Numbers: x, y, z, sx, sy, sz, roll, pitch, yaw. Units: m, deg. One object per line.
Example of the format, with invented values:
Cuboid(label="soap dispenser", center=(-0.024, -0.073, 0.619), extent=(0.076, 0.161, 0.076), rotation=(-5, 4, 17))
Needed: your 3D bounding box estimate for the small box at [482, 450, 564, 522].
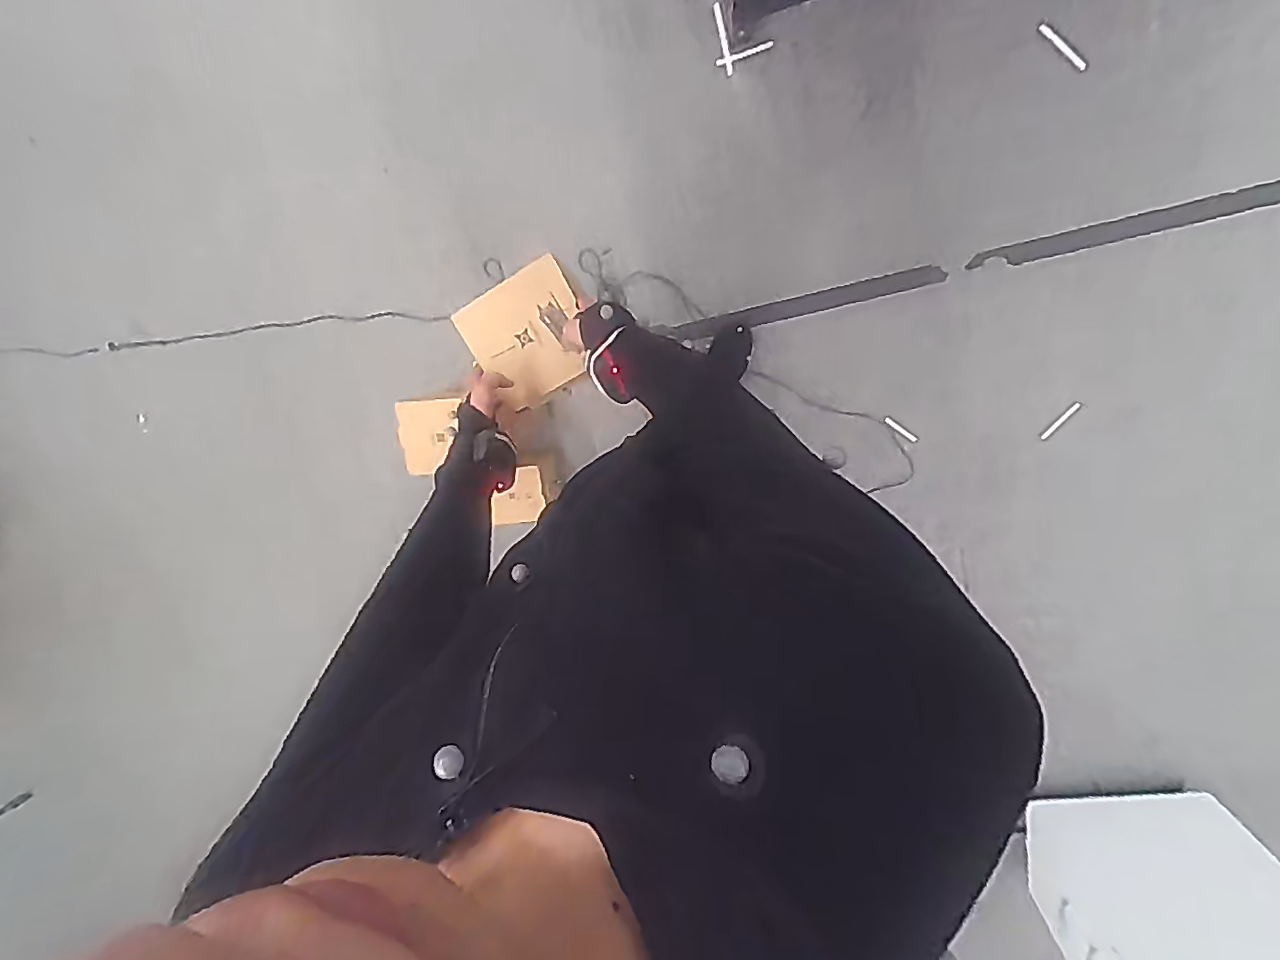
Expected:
Cuboid(label="small box", center=(-0.344, 0.016, 1.618), extent=(0.179, 0.176, 0.168), rotation=(-6, 107, 10))

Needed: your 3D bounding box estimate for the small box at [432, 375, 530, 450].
Cuboid(label="small box", center=(-0.401, -0.171, 1.398), extent=(0.168, 0.176, 0.179), rotation=(-9, 106, 11))

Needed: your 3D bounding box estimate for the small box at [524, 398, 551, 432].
Cuboid(label="small box", center=(-0.379, -0.219, 1.551), extent=(0.179, 0.176, 0.168), rotation=(-11, 107, 11))

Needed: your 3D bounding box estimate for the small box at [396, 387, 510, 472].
Cuboid(label="small box", center=(-0.422, -0.119, 1.244), extent=(0.179, 0.176, 0.168), rotation=(-2, 108, 10))

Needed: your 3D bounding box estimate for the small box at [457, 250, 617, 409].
Cuboid(label="small box", center=(-0.146, -0.229, 0.847), extent=(0.179, 0.176, 0.168), rotation=(-28, 99, 9))
